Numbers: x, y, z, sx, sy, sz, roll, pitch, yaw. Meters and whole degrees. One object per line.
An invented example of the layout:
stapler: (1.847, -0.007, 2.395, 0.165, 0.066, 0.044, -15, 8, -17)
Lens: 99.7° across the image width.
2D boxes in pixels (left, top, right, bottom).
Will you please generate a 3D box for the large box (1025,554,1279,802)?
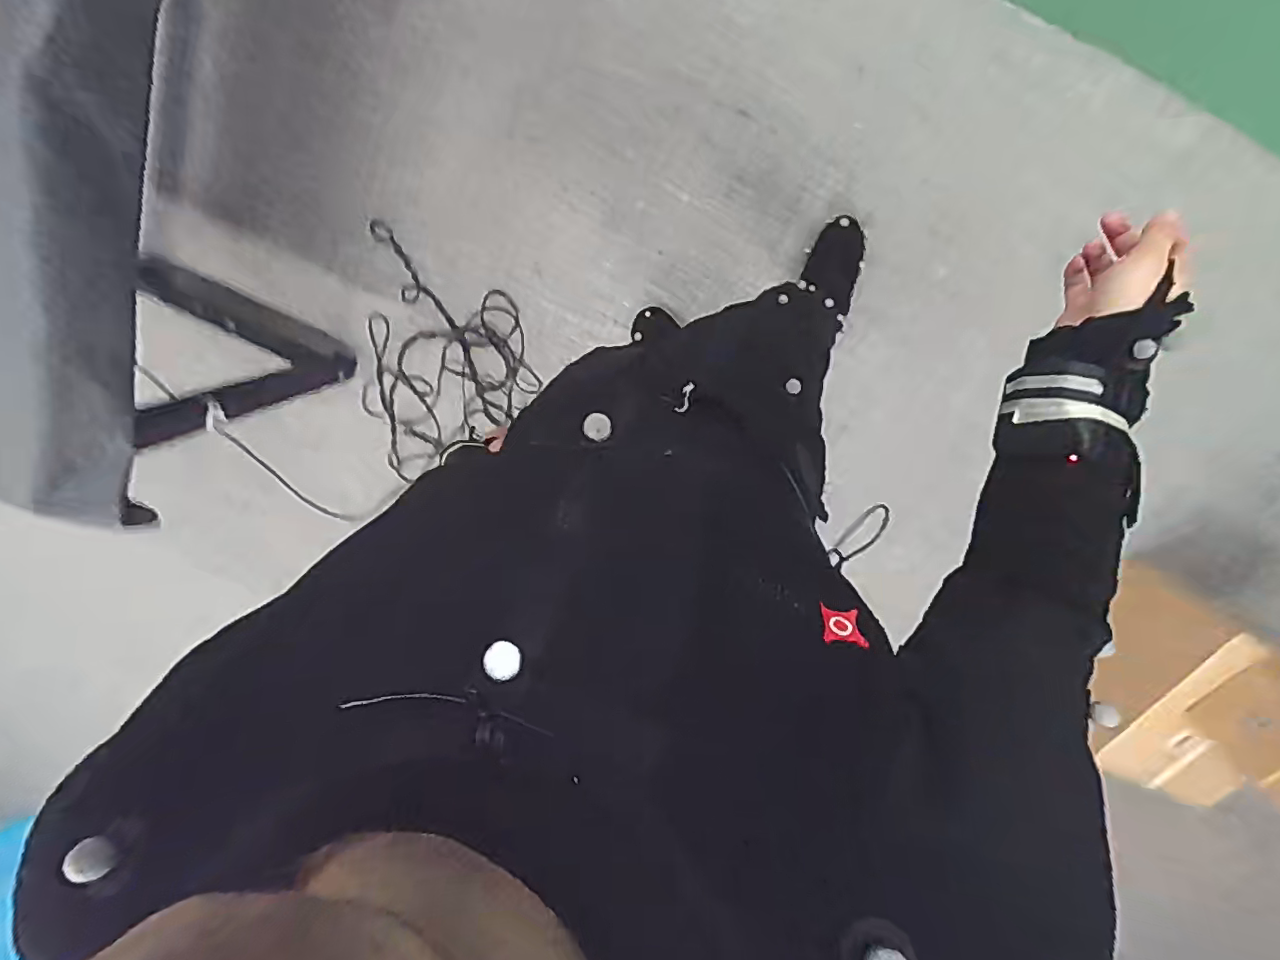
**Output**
large box: (1.250, 0.454, 1.282, 0.320, 0.320, 0.408, 25, 114, -3)
